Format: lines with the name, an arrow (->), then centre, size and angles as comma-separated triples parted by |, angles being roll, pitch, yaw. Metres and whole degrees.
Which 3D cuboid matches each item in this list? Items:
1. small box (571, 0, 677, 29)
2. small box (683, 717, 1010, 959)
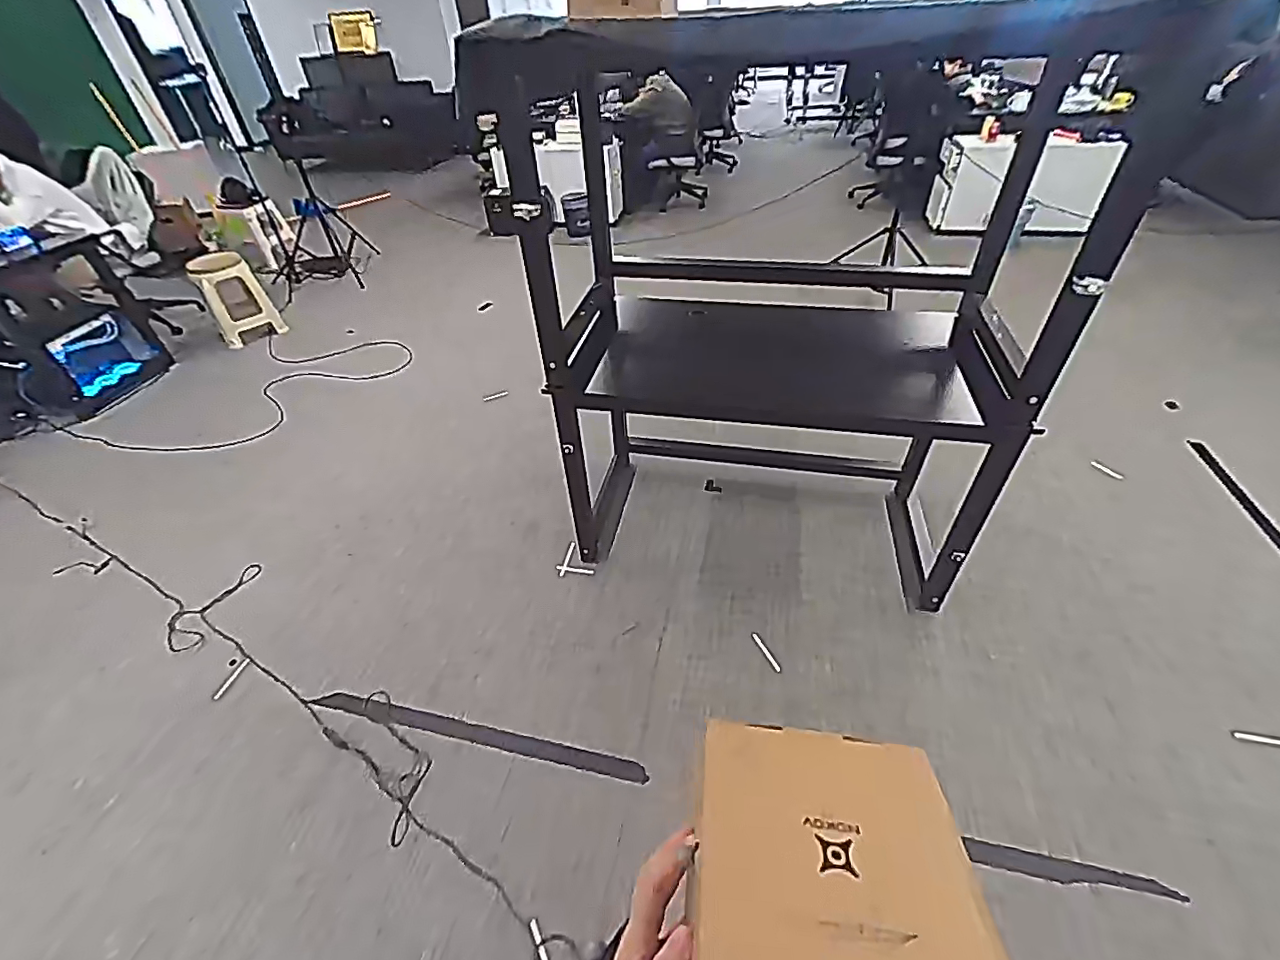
small box -> -0.025, -0.896, 0.935 | 0.168, 0.176, 0.179 | 8, 40, 10
small box -> 0.117, 0.301, 0.369 | 0.168, 0.176, 0.179 | 5, 26, 6
